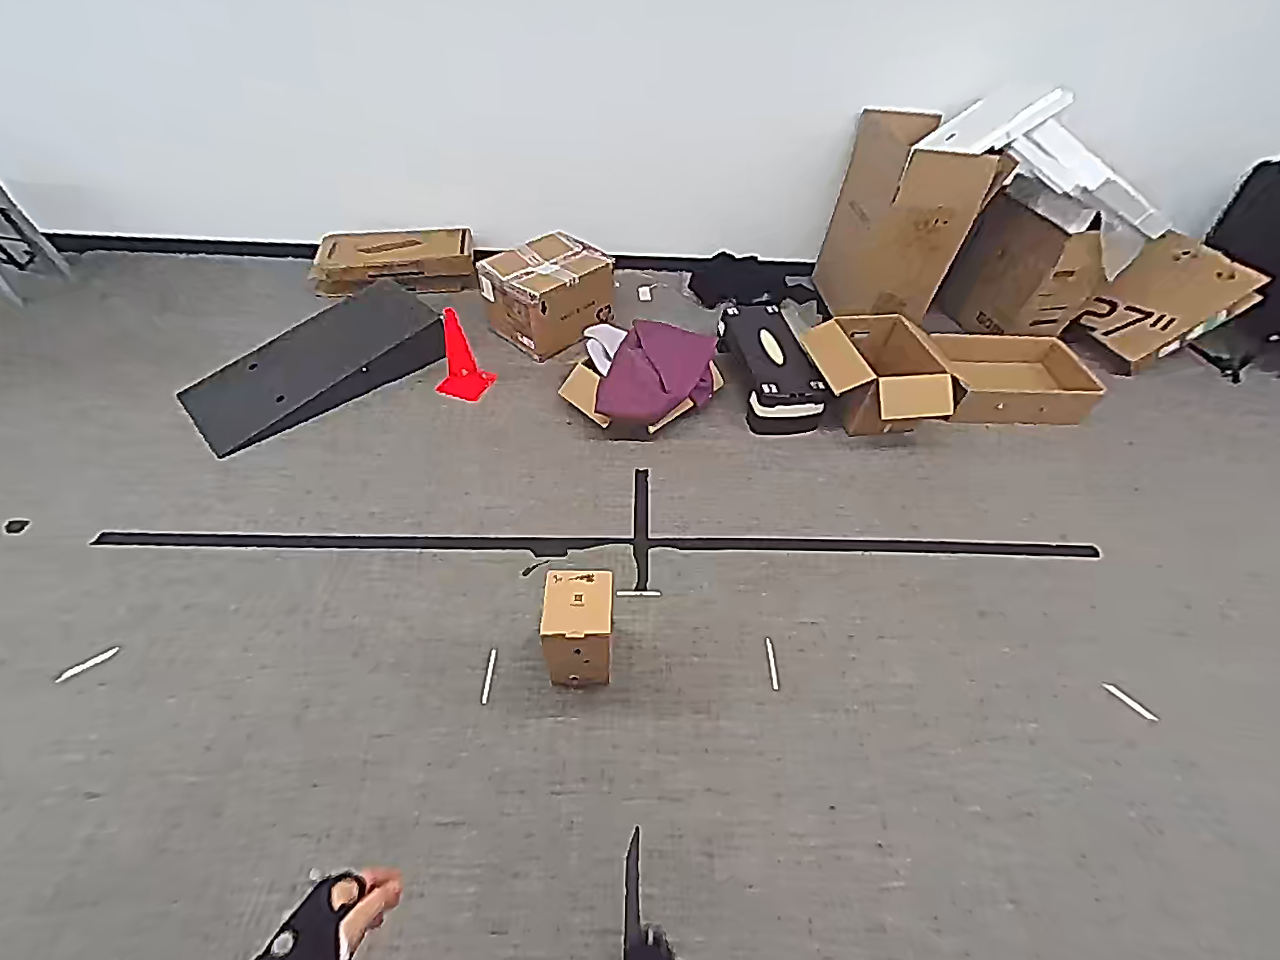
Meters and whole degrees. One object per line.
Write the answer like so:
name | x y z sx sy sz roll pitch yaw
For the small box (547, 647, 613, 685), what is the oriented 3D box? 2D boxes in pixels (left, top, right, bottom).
small box | -0.161 0.447 1.488 0.168 0.176 0.179 -1 49 -2

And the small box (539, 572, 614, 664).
small box | -0.152 0.350 1.355 0.168 0.176 0.179 1 48 -1
